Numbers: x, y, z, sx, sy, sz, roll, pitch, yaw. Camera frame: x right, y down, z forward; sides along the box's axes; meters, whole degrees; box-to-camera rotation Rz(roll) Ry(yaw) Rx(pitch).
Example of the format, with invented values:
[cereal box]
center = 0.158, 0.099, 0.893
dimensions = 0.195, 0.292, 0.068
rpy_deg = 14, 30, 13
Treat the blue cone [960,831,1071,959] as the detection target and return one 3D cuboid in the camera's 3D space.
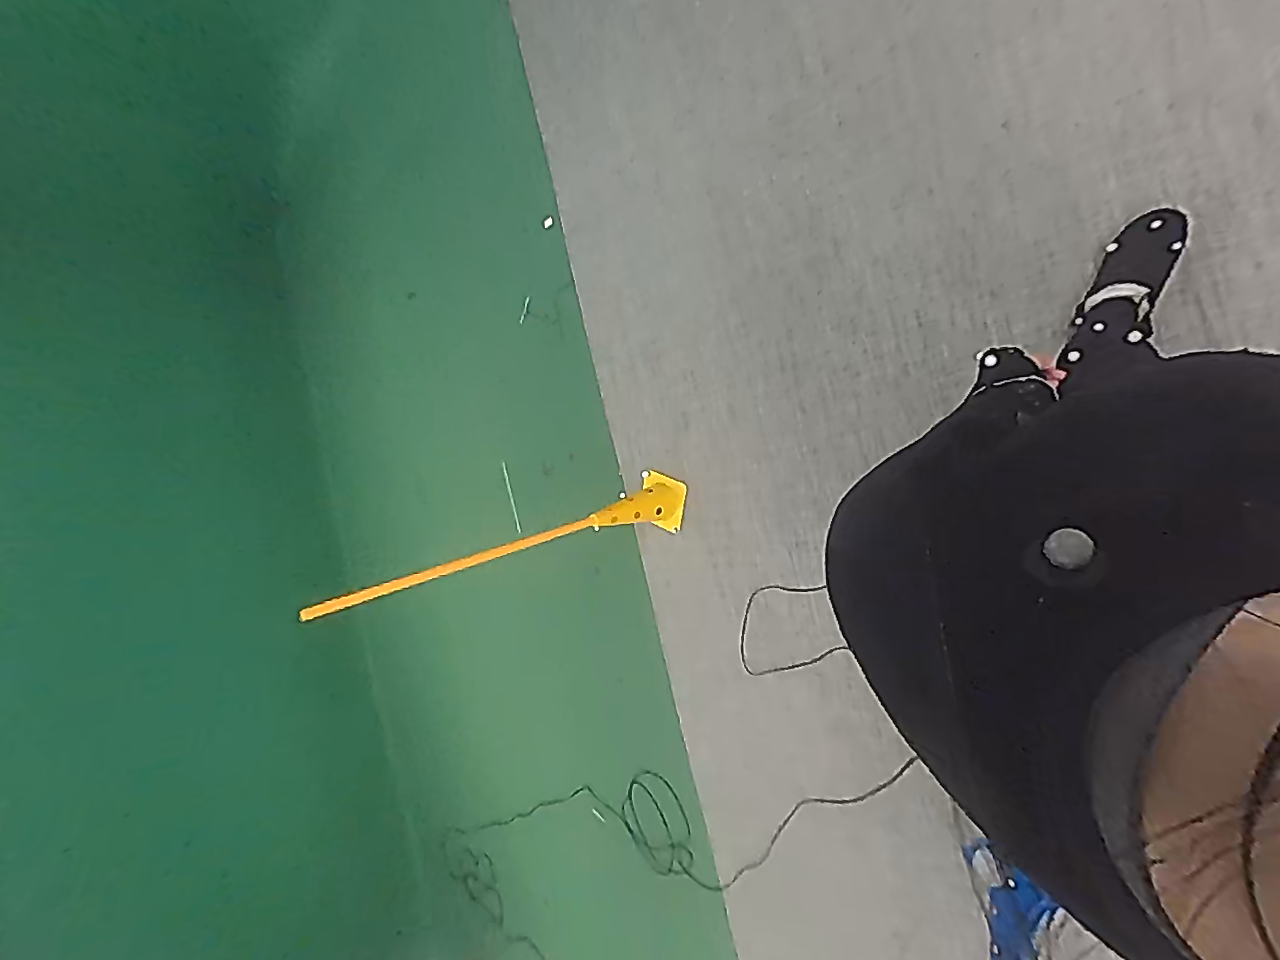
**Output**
[blue cone]
center = 0.858, 1.040, 1.264
dimensions = 0.193, 0.380, 0.192
rpy_deg = 38, 121, 27
